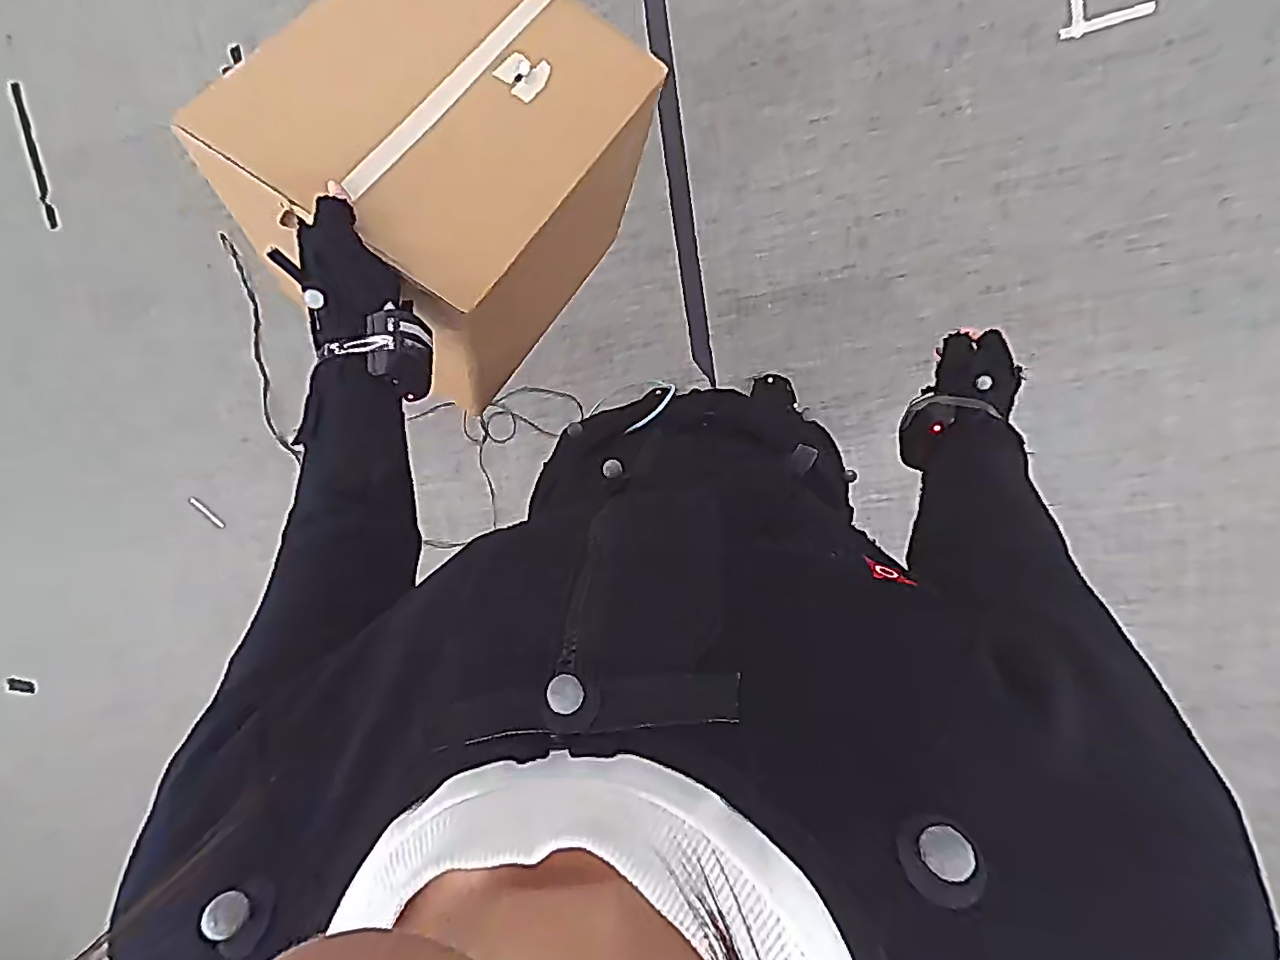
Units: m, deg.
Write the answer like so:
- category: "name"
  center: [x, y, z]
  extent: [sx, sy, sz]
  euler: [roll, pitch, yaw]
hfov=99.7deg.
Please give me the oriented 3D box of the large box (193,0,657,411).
- category: "large box"
  center: [-0.233, -0.370, 0.714]
  extent: [0.320, 0.320, 0.408]
  euler: [33, 71, -6]
